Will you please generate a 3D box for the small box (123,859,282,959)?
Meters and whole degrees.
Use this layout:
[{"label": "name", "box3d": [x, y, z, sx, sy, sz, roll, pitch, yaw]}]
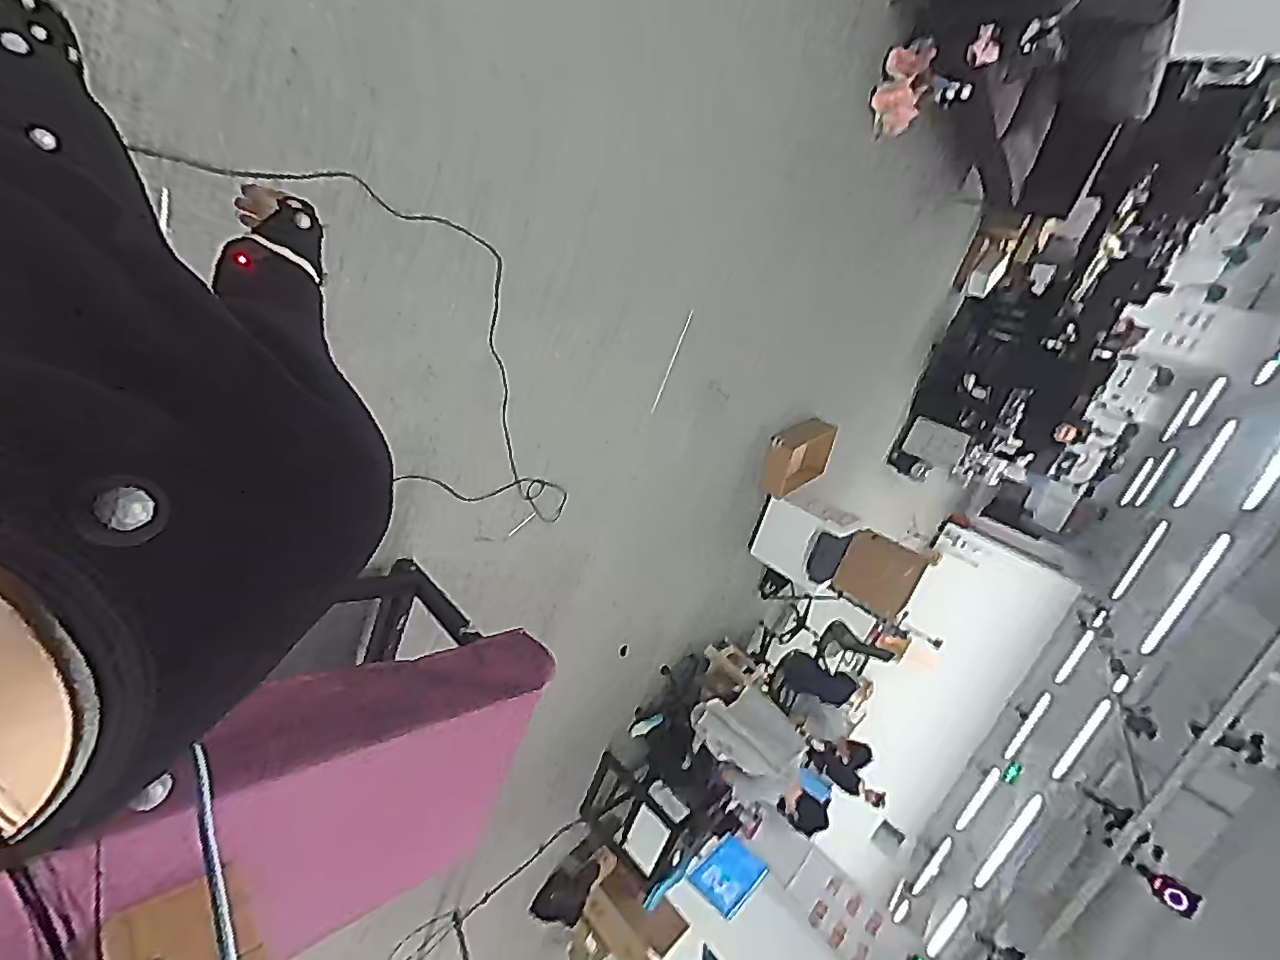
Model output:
[{"label": "small box", "box3d": [-0.750, 0.807, 0.919, 0.179, 0.176, 0.168, 6, 112, -52]}]
